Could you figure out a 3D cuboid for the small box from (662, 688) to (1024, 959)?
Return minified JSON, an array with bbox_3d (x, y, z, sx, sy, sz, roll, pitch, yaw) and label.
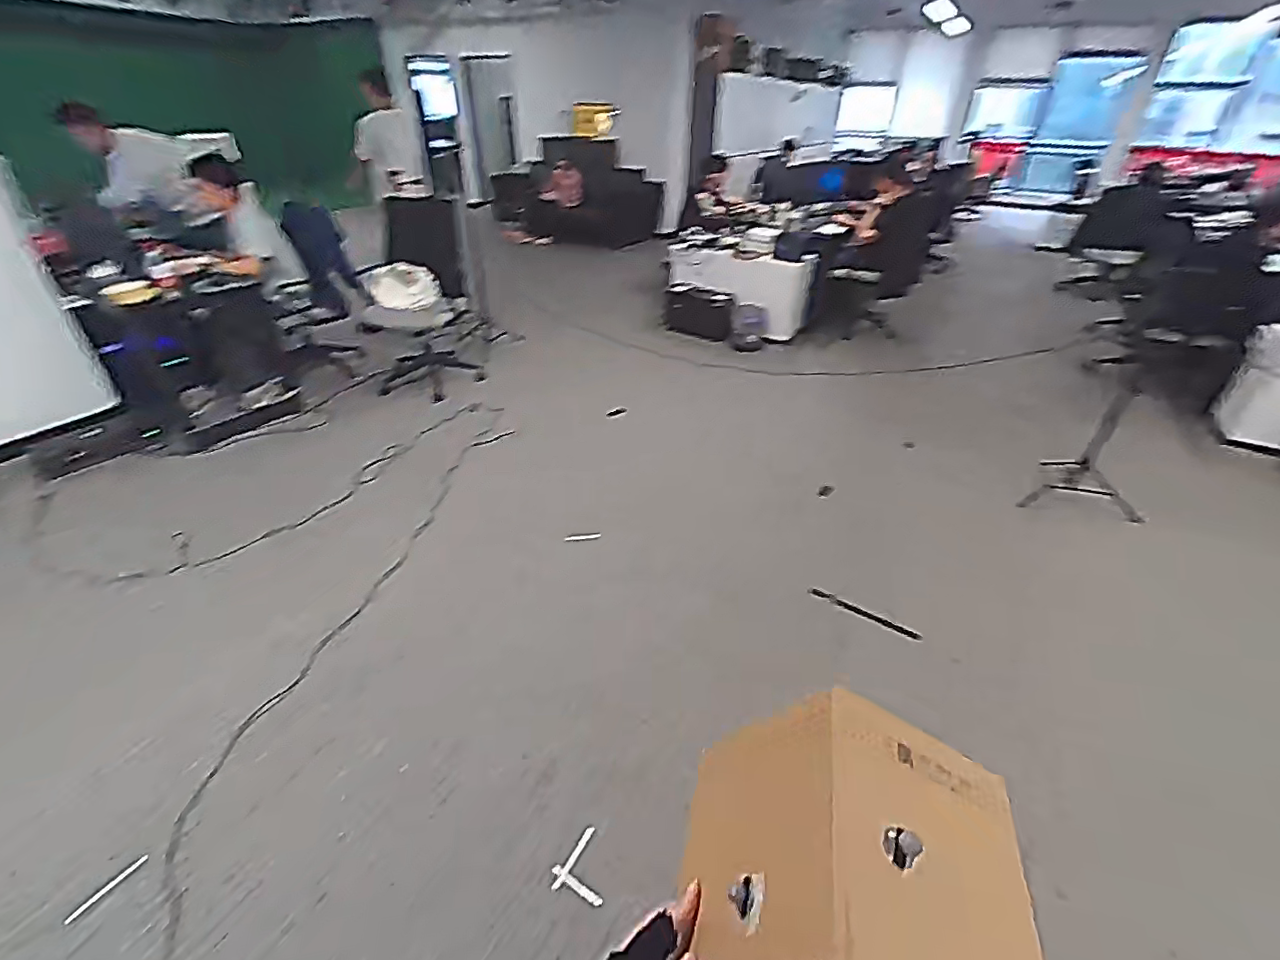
[{"bbox_3d":[0.140,0.283,0.400,0.168,0.179,0.176,32,41,-10],"label":"small box"}]
